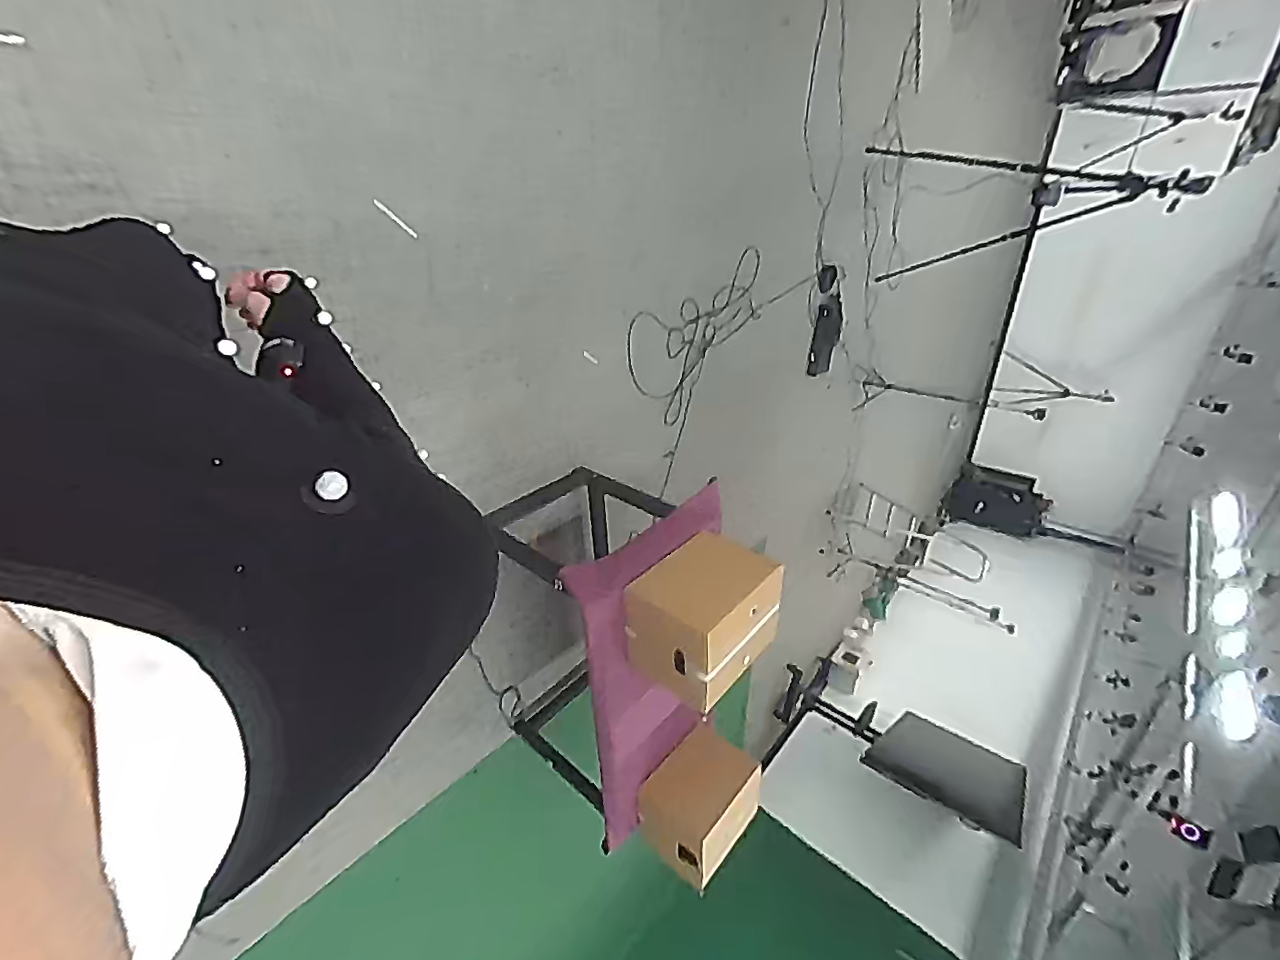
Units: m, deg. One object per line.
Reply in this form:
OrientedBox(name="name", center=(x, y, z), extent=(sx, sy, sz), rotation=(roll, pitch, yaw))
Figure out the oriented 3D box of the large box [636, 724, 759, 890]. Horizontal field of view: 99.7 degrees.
OrientedBox(name="large box", center=(0.230, 1.283, 2.166), extent=(0.408, 0.320, 0.320), rotation=(-27, 125, -41))
